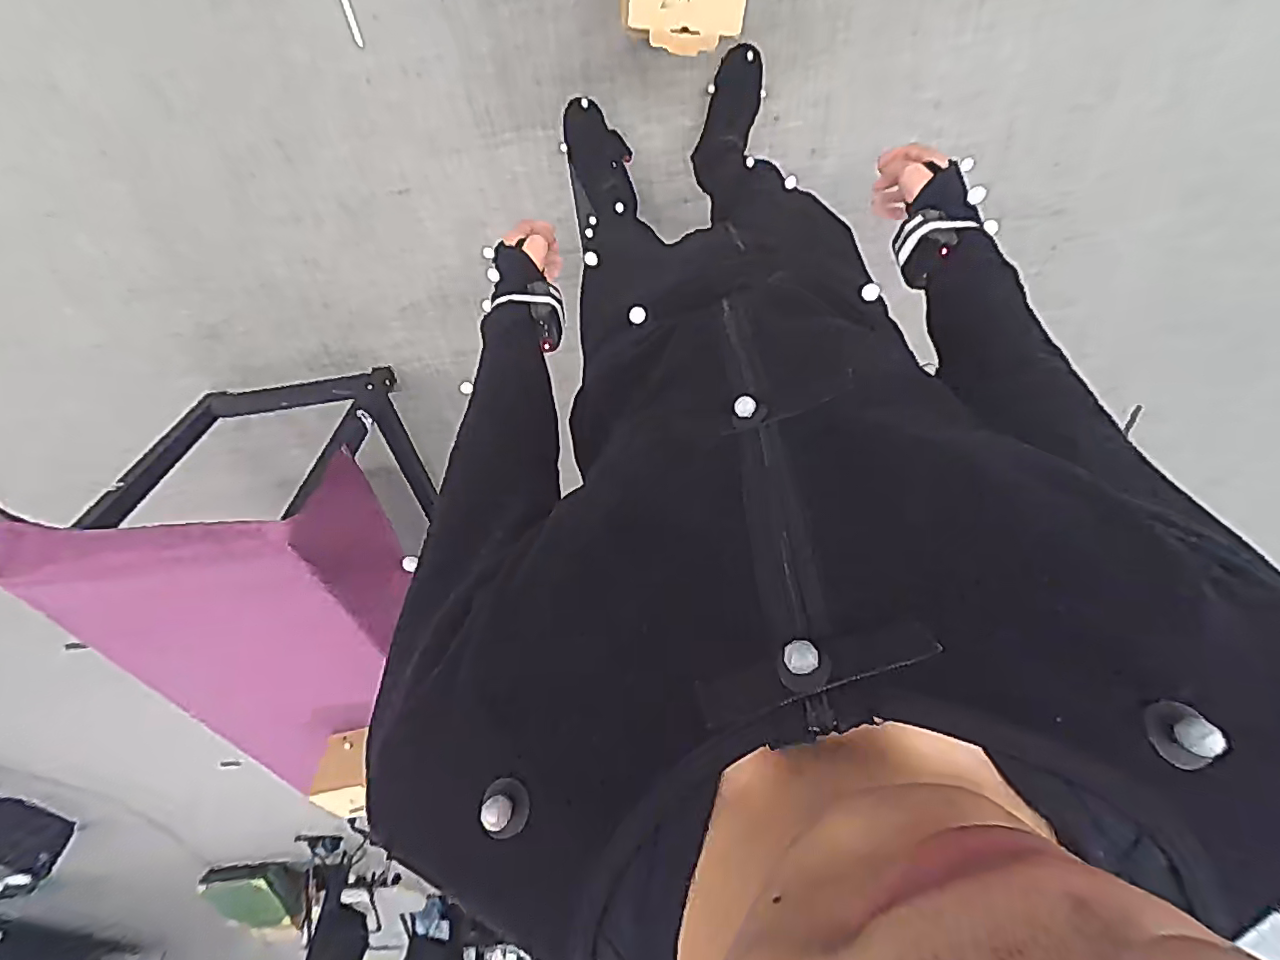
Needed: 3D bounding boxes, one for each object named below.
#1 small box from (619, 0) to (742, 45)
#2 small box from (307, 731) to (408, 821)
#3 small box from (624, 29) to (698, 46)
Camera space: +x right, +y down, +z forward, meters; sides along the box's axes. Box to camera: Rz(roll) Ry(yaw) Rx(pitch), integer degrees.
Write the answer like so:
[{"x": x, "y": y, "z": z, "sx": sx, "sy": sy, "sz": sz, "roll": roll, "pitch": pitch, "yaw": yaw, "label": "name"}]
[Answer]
[{"x": 0.058, "y": -0.754, "z": 0.786, "sx": 0.168, "sy": 0.176, "sz": 0.179, "roll": 0, "pitch": 130, "yaw": -6, "label": "small box"}, {"x": -0.797, "y": 0.848, "z": 1.552, "sx": 0.168, "sy": 0.176, "sz": 0.179, "roll": -16, "pitch": 129, "yaw": 8, "label": "small box"}, {"x": 0.049, "y": -0.959, "z": 1.044, "sx": 0.168, "sy": 0.176, "sz": 0.179, "roll": -5, "pitch": 130, "yaw": -2, "label": "small box"}]
